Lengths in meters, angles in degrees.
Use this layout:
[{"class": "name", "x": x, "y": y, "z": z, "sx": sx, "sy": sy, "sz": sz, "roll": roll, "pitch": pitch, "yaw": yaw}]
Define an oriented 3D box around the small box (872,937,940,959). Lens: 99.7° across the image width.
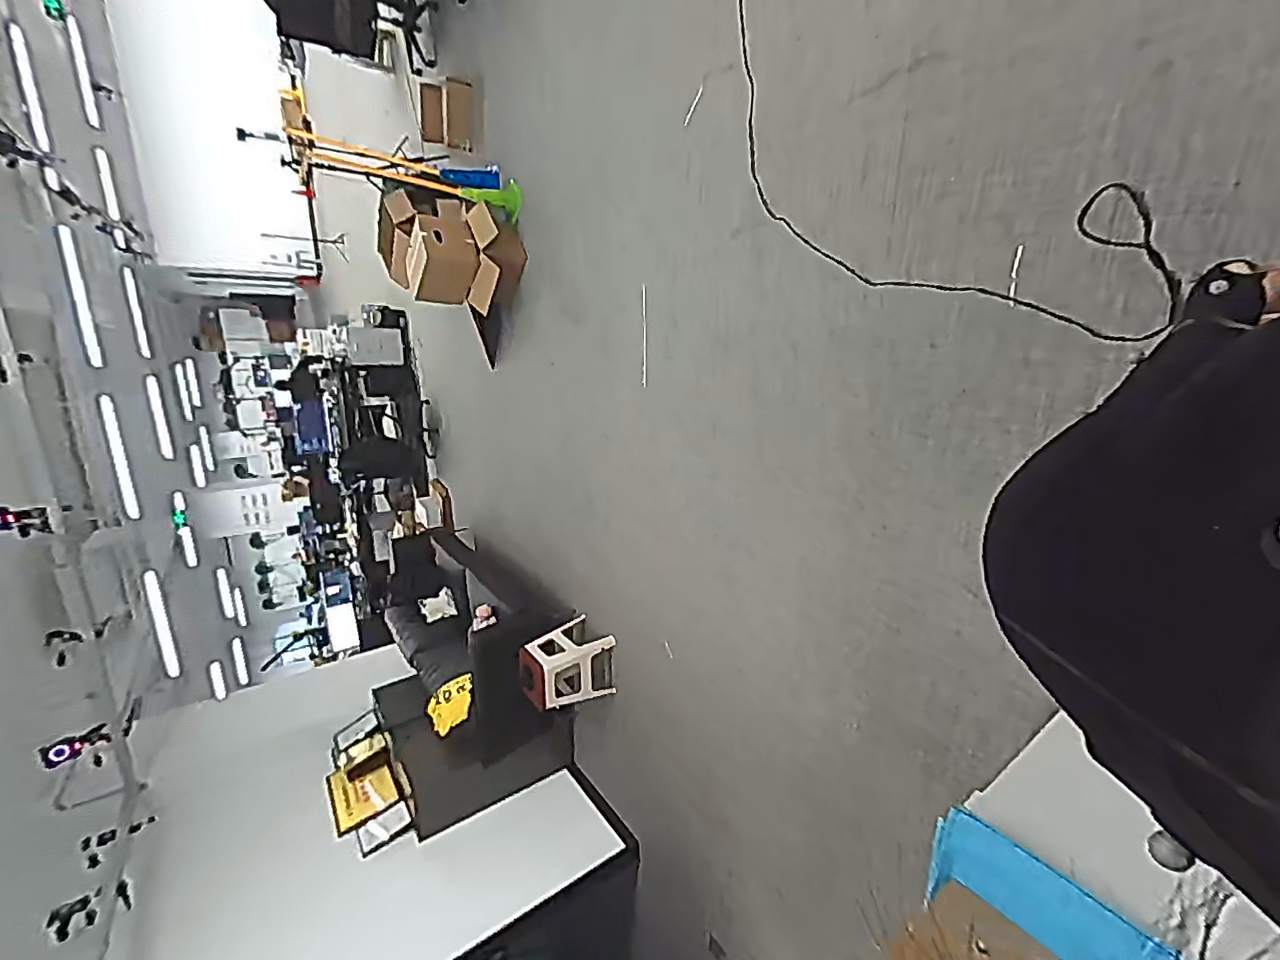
[{"class": "small box", "x": 0.436, "y": 0.874, "z": 0.843, "sx": 0.179, "sy": 0.176, "sz": 0.168, "roll": 18, "pitch": 114, "yaw": 51}]
